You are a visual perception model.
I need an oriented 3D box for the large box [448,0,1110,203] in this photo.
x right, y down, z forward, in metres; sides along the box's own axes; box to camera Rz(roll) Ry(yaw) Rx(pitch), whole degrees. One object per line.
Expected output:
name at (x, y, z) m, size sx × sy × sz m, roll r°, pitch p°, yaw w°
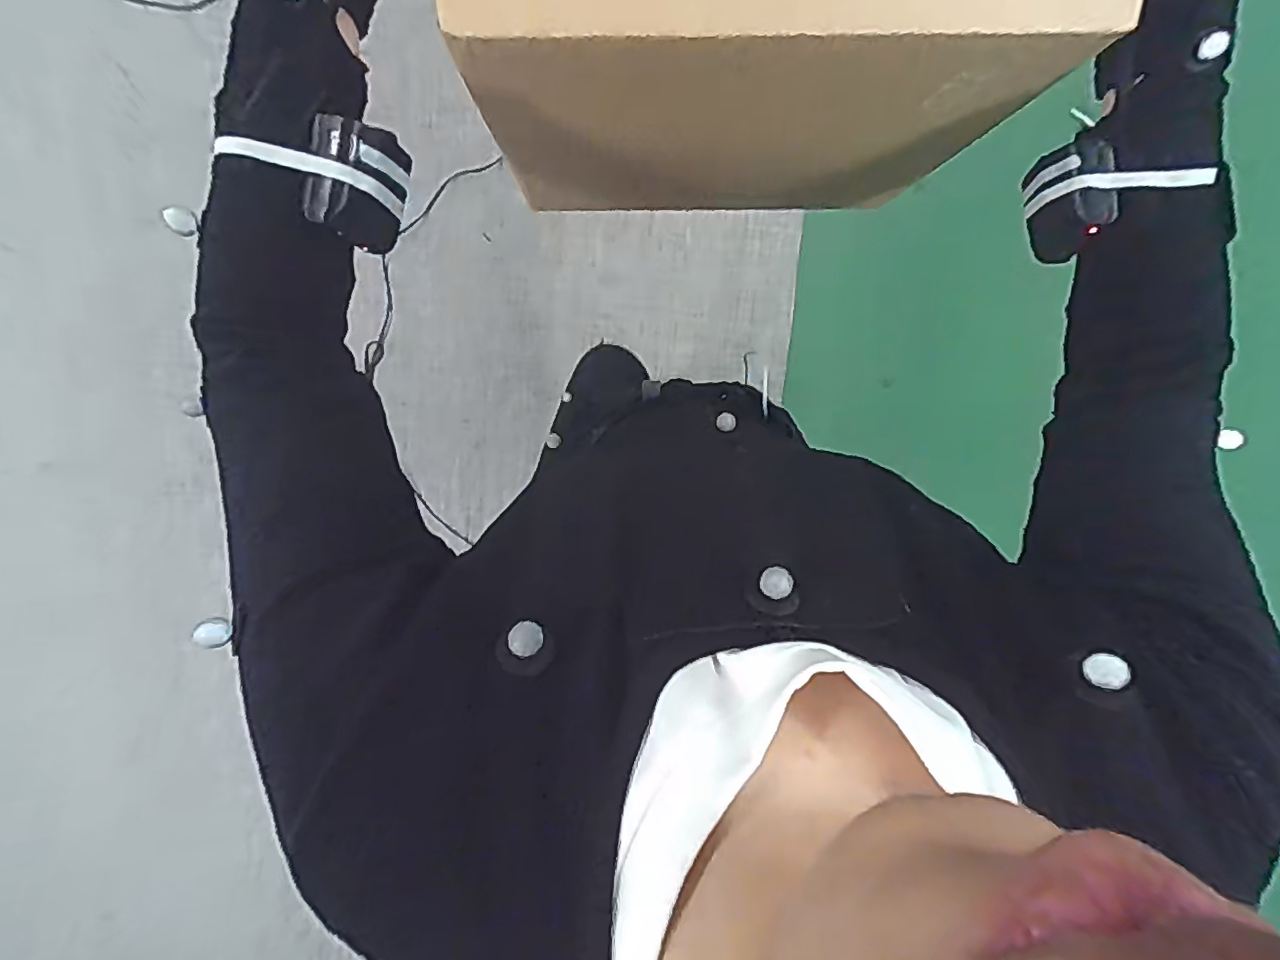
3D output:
large box at (0.072, -0.444, 0.440) m, size 0.408 × 0.320 × 0.320 m, roll -2°, pitch 100°, yaw -2°
